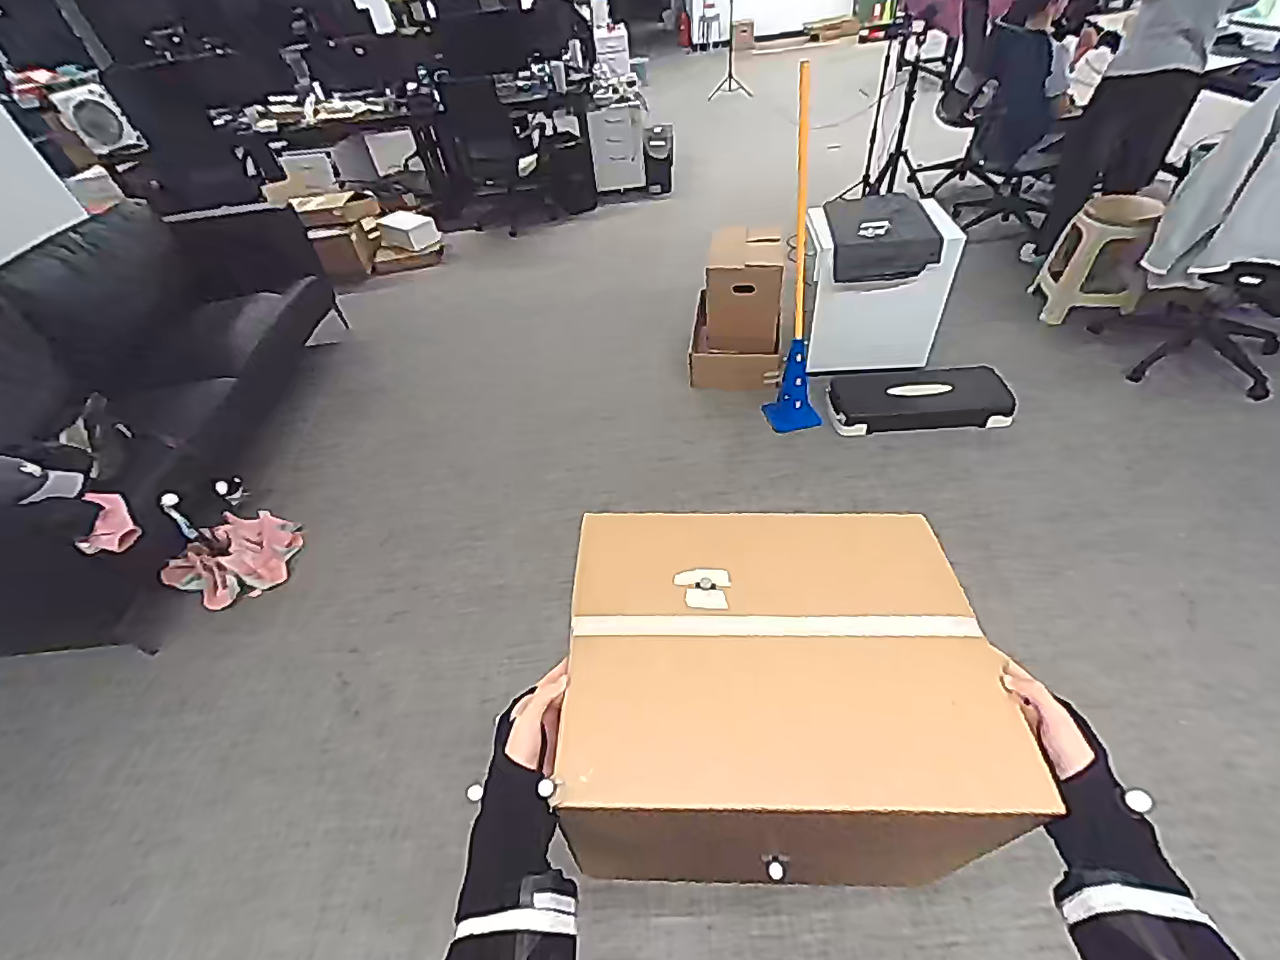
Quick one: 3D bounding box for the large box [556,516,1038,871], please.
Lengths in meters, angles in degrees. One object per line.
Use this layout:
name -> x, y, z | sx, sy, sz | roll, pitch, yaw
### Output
large box -> 0.135, 0.261, 0.651 | 0.408, 0.320, 0.320 | -1, 45, 2
